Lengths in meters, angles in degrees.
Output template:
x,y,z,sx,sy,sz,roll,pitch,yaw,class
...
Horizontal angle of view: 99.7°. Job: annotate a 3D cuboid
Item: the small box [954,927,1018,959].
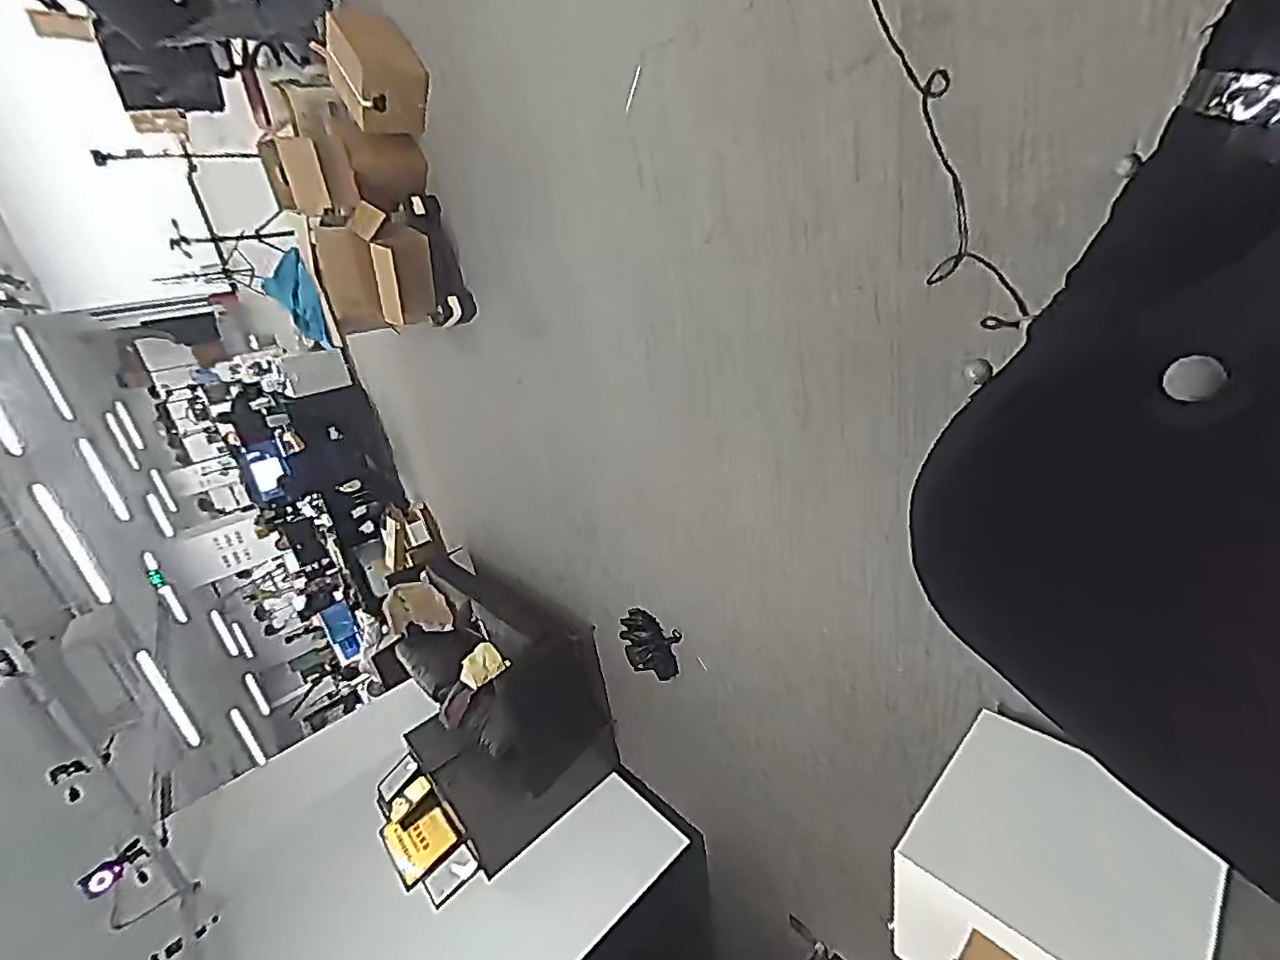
x,y,z,sx,sy,sz,roll,pitch,yaw,class
0.721,1.071,1.088,0.179,0.176,0.168,18,124,47,small box
